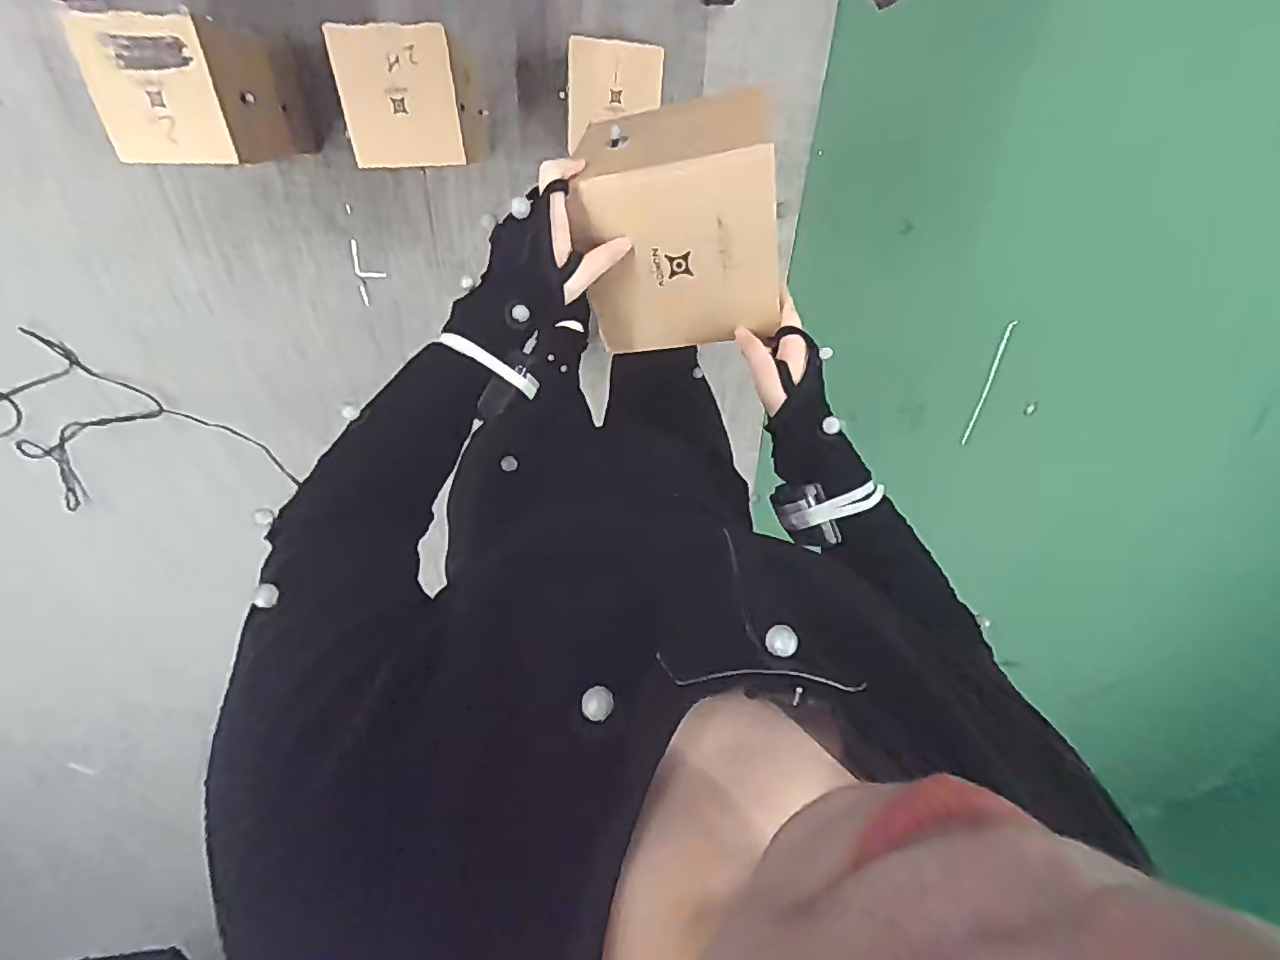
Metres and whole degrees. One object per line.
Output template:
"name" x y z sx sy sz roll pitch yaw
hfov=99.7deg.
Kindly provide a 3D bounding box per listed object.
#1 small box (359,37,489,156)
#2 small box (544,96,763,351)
"small box" -0.388 -0.700 1.003 0.179 0.176 0.168 -3 122 -6
"small box" 0.030 -0.250 0.536 0.179 0.176 0.168 -3 137 14
